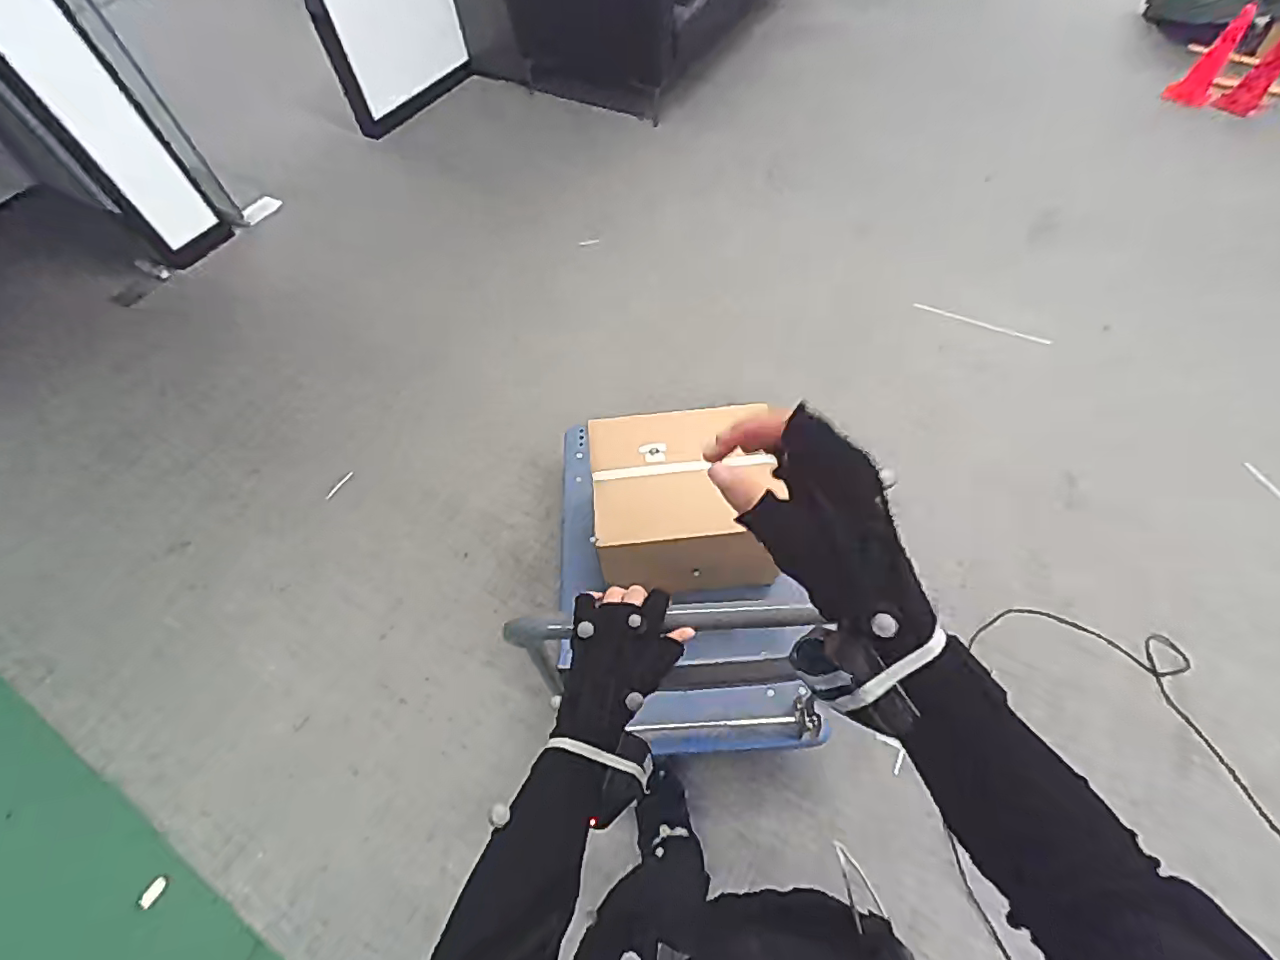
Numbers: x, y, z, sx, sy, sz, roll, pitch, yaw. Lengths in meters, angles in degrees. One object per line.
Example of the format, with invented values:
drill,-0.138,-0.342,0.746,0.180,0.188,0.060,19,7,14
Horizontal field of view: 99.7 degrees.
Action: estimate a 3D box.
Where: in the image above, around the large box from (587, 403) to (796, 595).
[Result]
large box,0.103,0.055,1.262,0.408,0.320,0.320,-7,58,-1
